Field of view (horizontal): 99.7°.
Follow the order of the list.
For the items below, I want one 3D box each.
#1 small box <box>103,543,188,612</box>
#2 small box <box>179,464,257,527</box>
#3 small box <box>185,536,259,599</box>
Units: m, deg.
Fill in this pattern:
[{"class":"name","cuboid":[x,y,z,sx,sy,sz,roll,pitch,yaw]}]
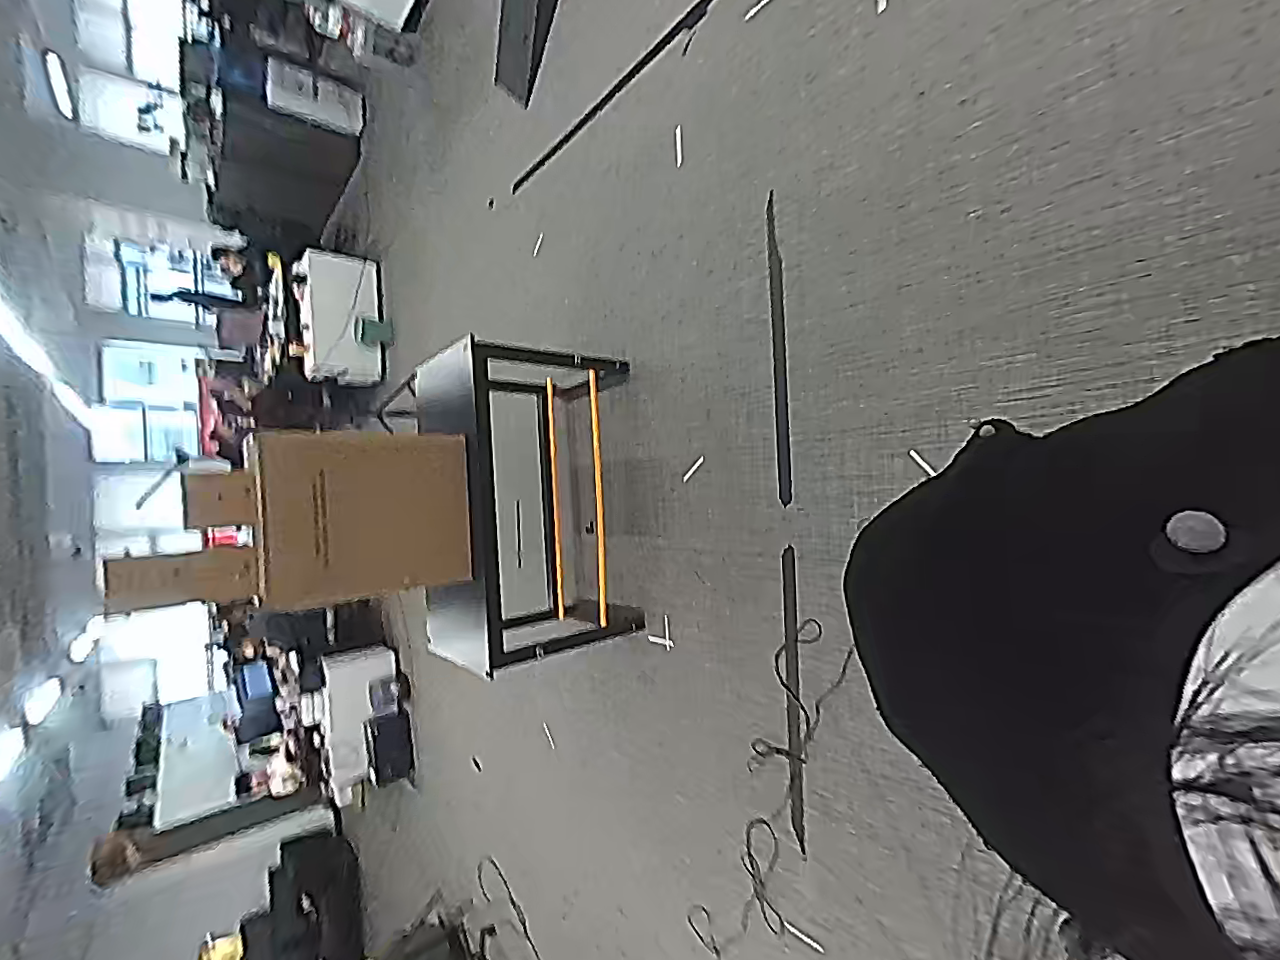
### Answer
[{"class":"small box","cuboid":[-1.386,0.269,1.523,0.179,0.176,0.168,-8,86,49]},{"class":"small box","cuboid":[-1.254,0.045,1.611,0.179,0.176,0.168,-11,85,48]},{"class":"small box","cuboid":[-1.263,0.262,1.633,0.179,0.176,0.168,-12,83,48]}]
